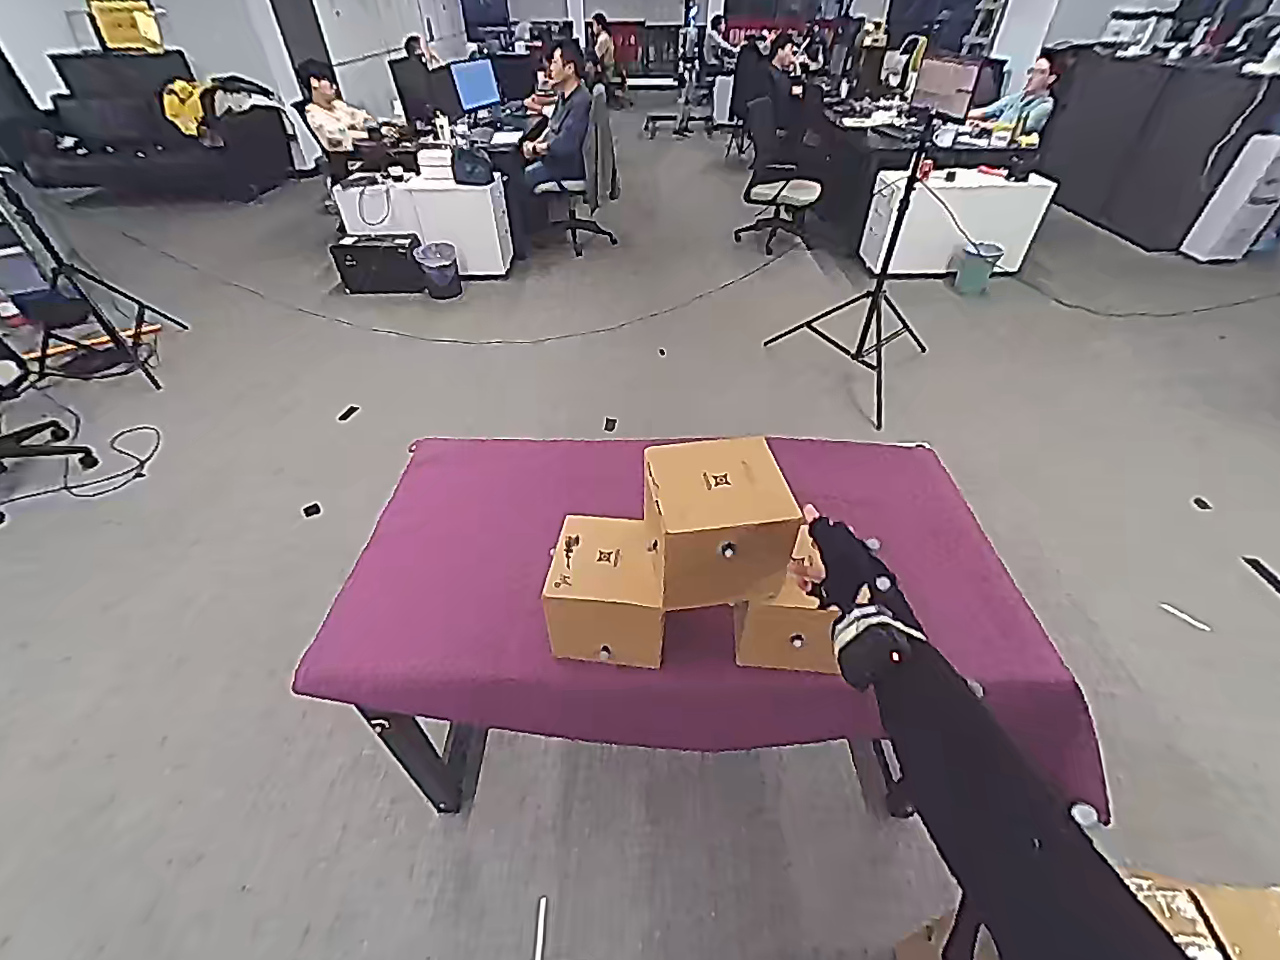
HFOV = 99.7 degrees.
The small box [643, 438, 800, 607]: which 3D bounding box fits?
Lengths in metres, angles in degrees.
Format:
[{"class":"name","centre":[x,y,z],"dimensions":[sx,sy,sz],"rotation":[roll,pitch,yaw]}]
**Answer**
[{"class":"small box","centre":[0.103,0.062,0.768],"dimensions":[0.179,0.176,0.168],"rotation":[-6,43,-7]}]

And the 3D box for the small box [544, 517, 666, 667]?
[{"class":"small box","centre":[-0.044,0.184,0.878],"dimensions":[0.179,0.176,0.168],"rotation":[5,41,4]}]

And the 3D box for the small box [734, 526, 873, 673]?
[{"class":"small box","centre":[0.248,0.190,0.866],"dimensions":[0.179,0.176,0.168],"rotation":[3,41,5]}]
